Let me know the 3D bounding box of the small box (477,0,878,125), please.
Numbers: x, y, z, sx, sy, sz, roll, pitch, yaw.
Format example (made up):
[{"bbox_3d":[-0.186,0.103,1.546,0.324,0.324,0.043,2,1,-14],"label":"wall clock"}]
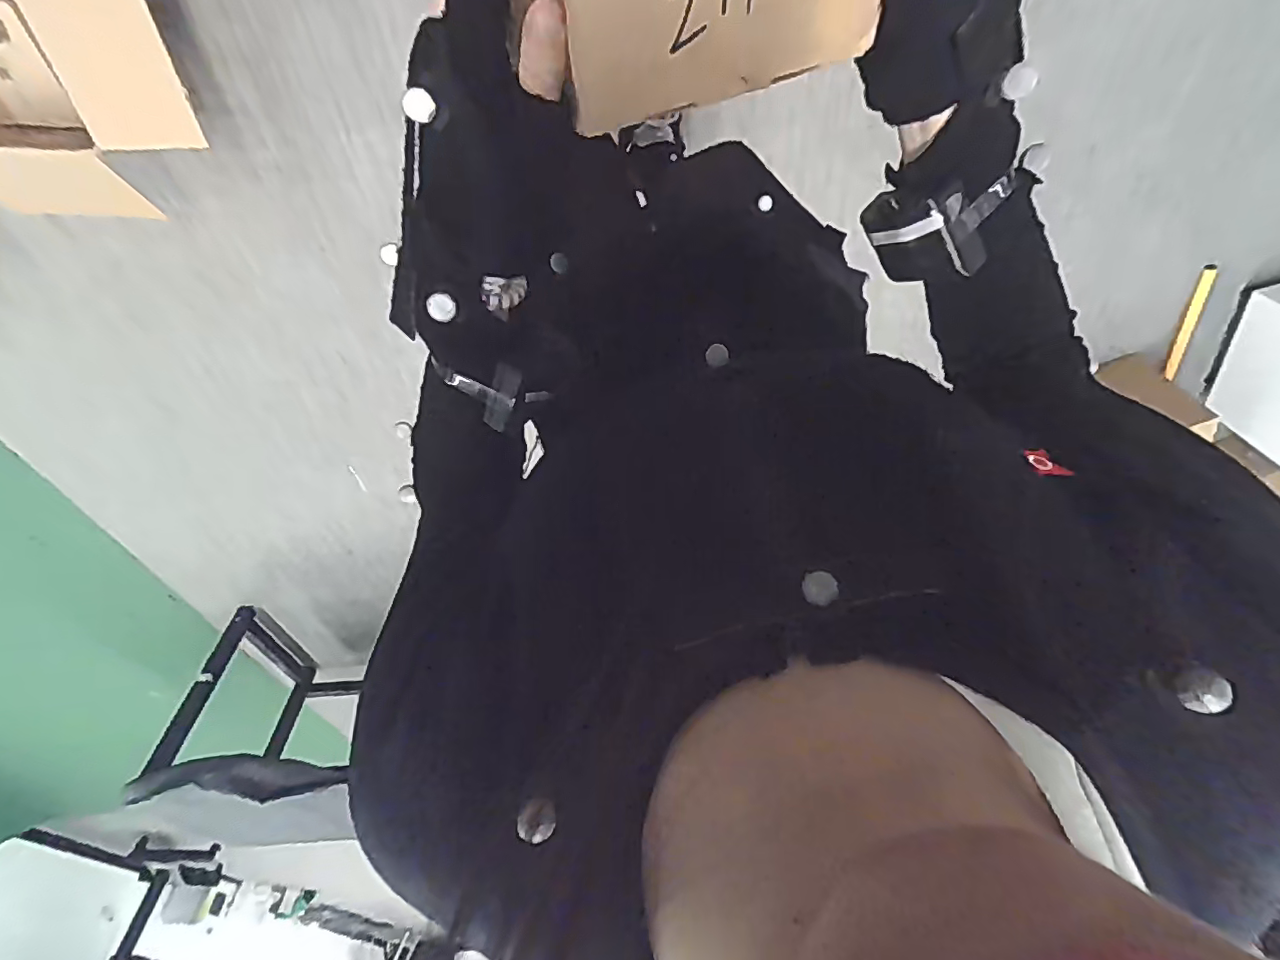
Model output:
[{"bbox_3d":[0.004,-0.295,0.226,0.168,0.176,0.179,-25,151,-14],"label":"small box"}]
